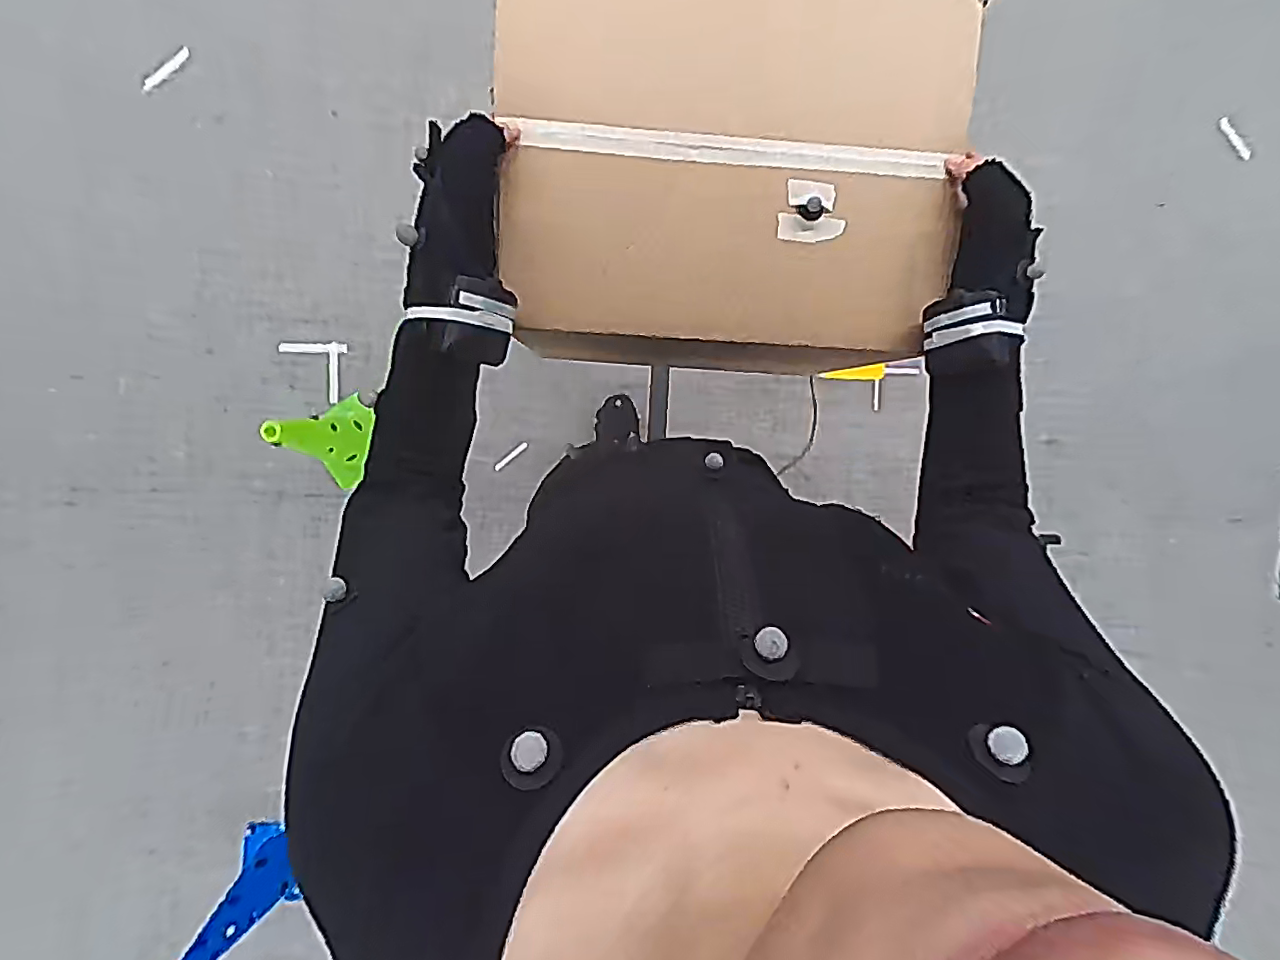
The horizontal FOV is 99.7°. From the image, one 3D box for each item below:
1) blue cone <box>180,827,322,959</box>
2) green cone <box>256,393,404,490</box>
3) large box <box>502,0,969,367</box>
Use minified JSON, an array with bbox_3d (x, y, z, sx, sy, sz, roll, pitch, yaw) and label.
[{"bbox_3d":[-0.938,1.017,1.268,0.192,0.380,0.193,5,90,-2],"label":"blue cone"},{"bbox_3d":[-0.741,-0.097,1.244,0.202,0.368,0.200,-35,92,0],"label":"green cone"},{"bbox_3d":[0.069,-0.304,0.614,0.408,0.320,0.320,2,97,-5],"label":"large box"}]
